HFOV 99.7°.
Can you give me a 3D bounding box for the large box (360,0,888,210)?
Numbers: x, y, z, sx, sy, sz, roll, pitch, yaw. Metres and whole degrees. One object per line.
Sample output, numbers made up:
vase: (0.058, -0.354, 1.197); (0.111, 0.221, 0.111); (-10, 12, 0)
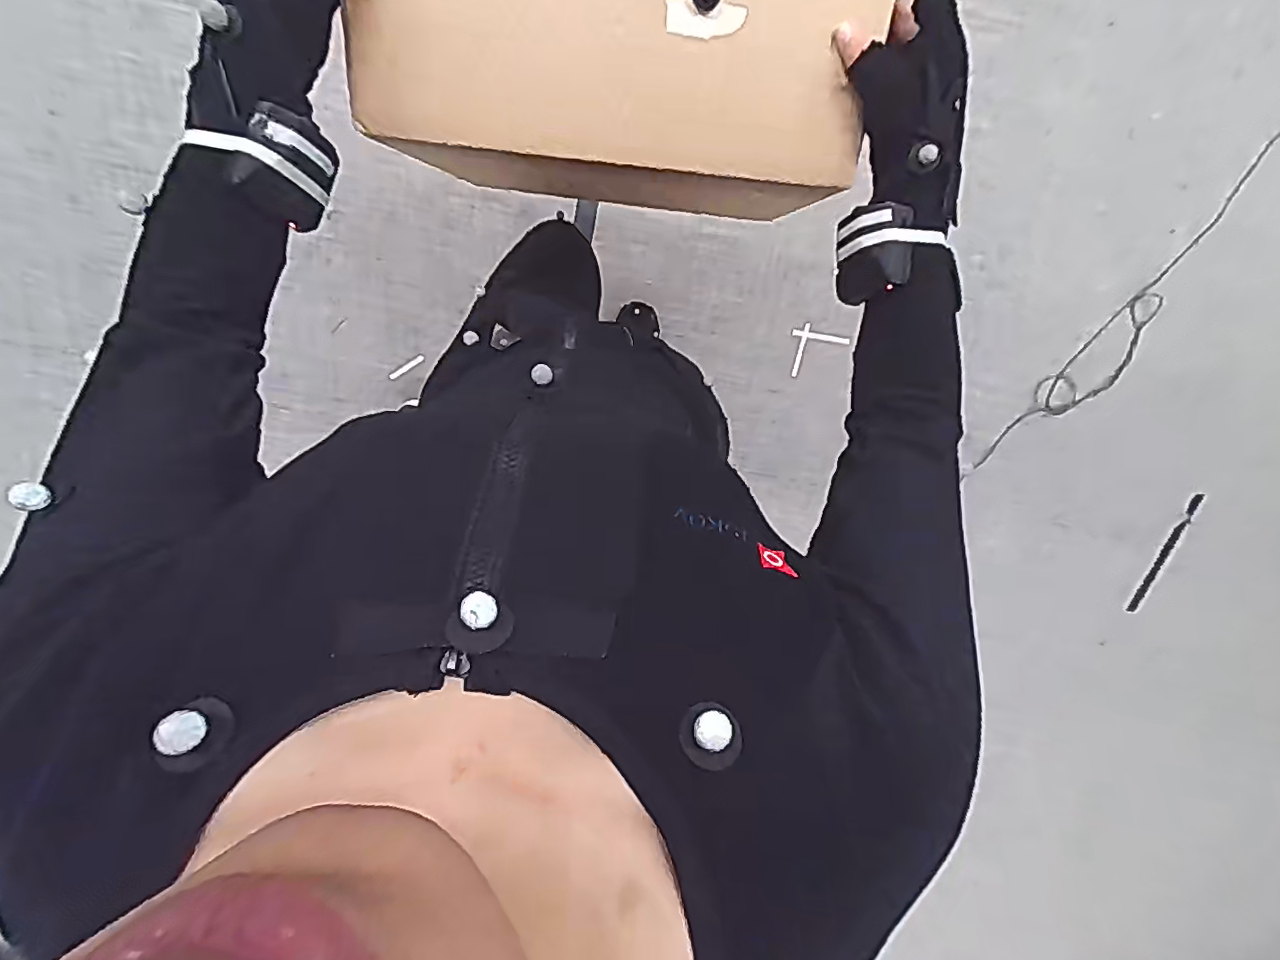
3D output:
large box: (-0.008, -0.465, 0.526); (0.408, 0.320, 0.320); (5, 112, -2)
